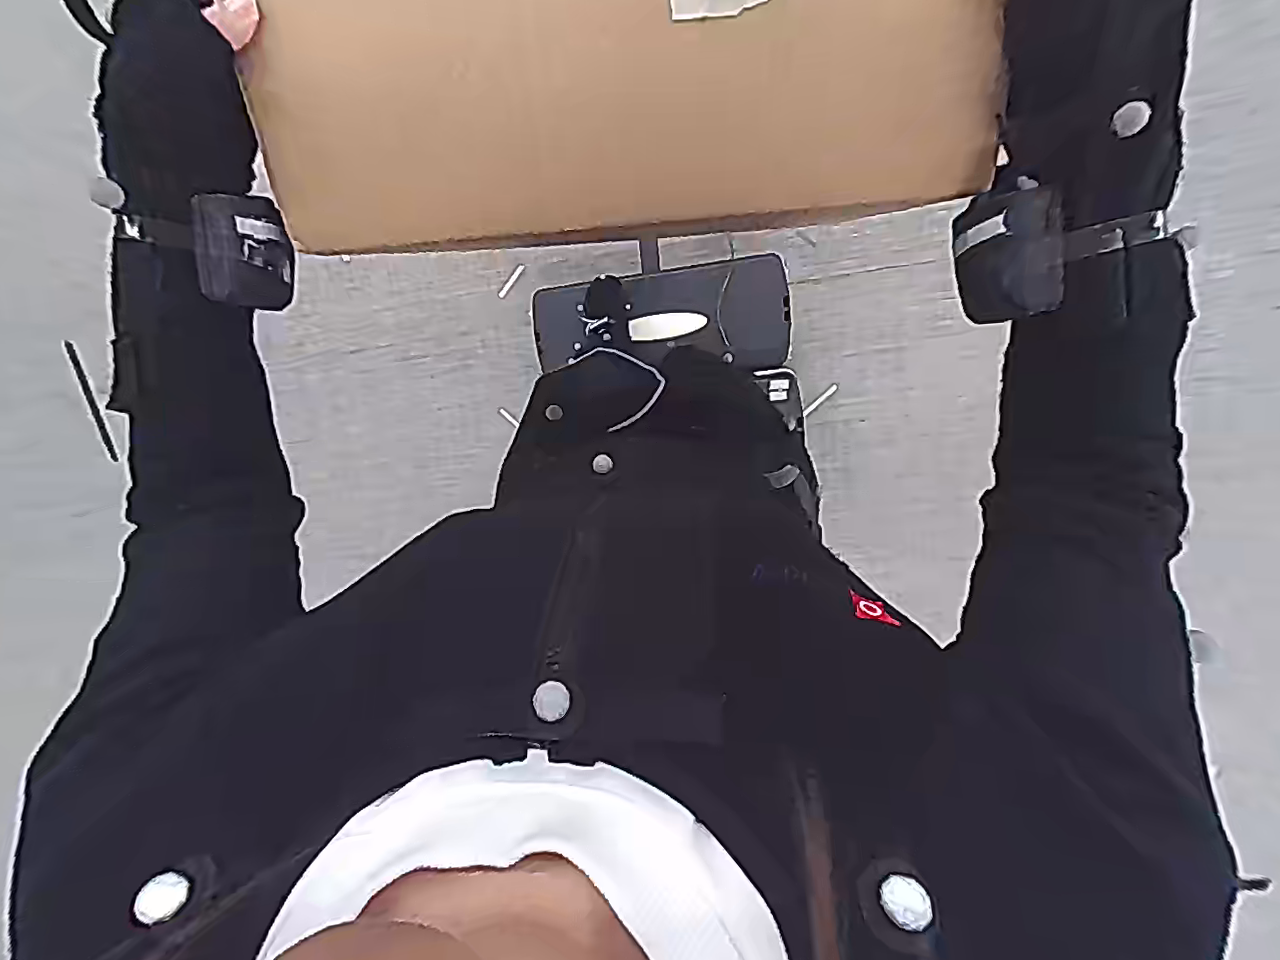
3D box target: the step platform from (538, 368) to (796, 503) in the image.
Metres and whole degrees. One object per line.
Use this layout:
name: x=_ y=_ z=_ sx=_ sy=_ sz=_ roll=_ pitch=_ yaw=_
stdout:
step platform: x=0.072 y=-0.117 z=1.470 sx=0.684 sy=0.204 sz=0.286 roll=-6 pitch=104 yaw=10

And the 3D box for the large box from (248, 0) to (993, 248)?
large box: x=-0.010 y=-0.360 z=0.404 sx=0.408 sy=0.320 sz=0.320 roll=-2 pitch=114 yaw=8
